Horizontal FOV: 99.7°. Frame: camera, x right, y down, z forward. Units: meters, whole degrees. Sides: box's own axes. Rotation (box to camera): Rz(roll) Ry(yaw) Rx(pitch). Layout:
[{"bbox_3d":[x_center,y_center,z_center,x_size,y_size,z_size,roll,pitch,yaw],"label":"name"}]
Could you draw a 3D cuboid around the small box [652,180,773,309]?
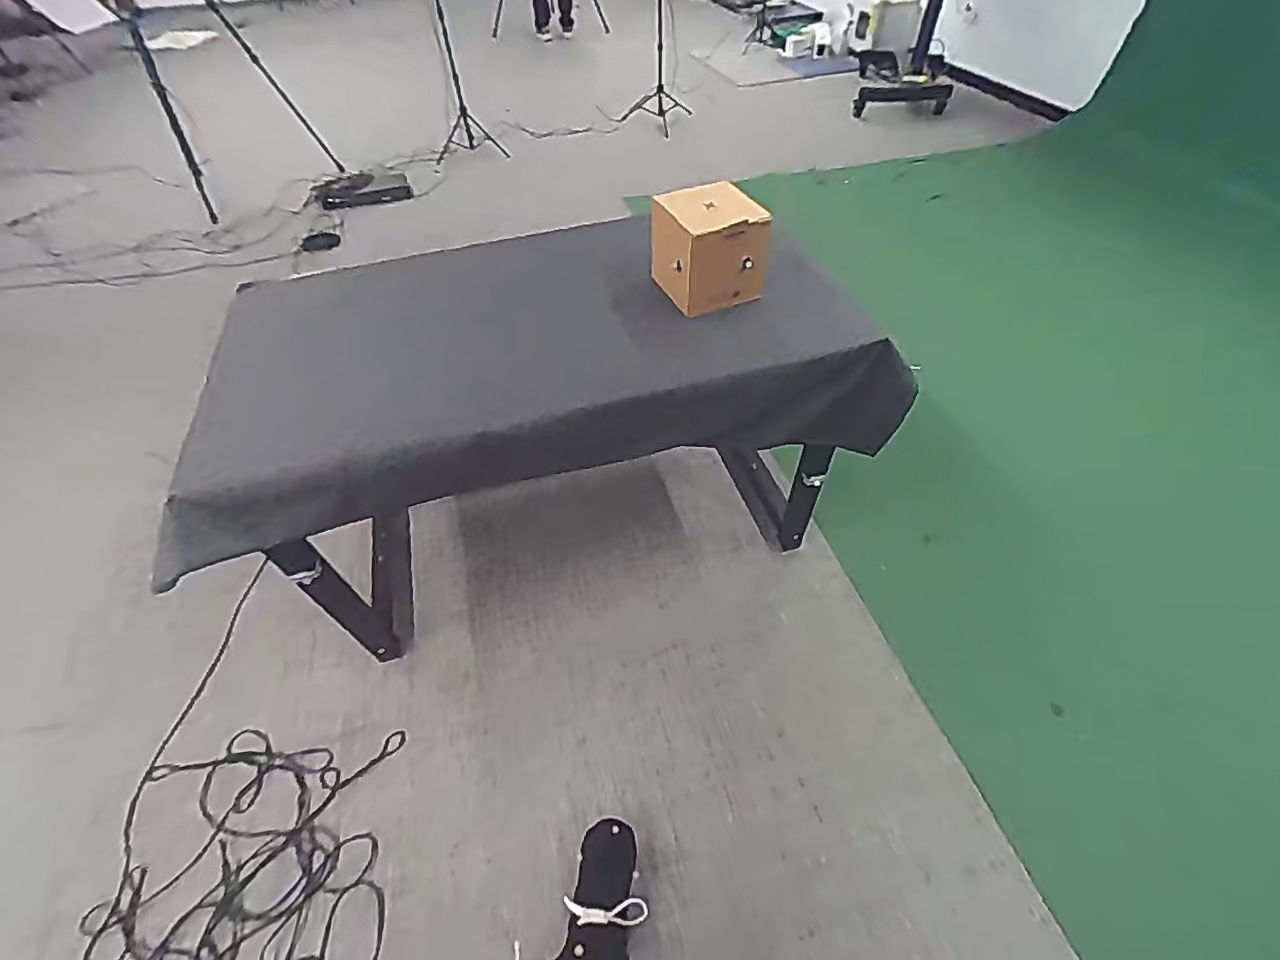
[{"bbox_3d":[0.133,-0.451,1.052,0.168,0.176,0.179,-19,51,-15],"label":"small box"}]
